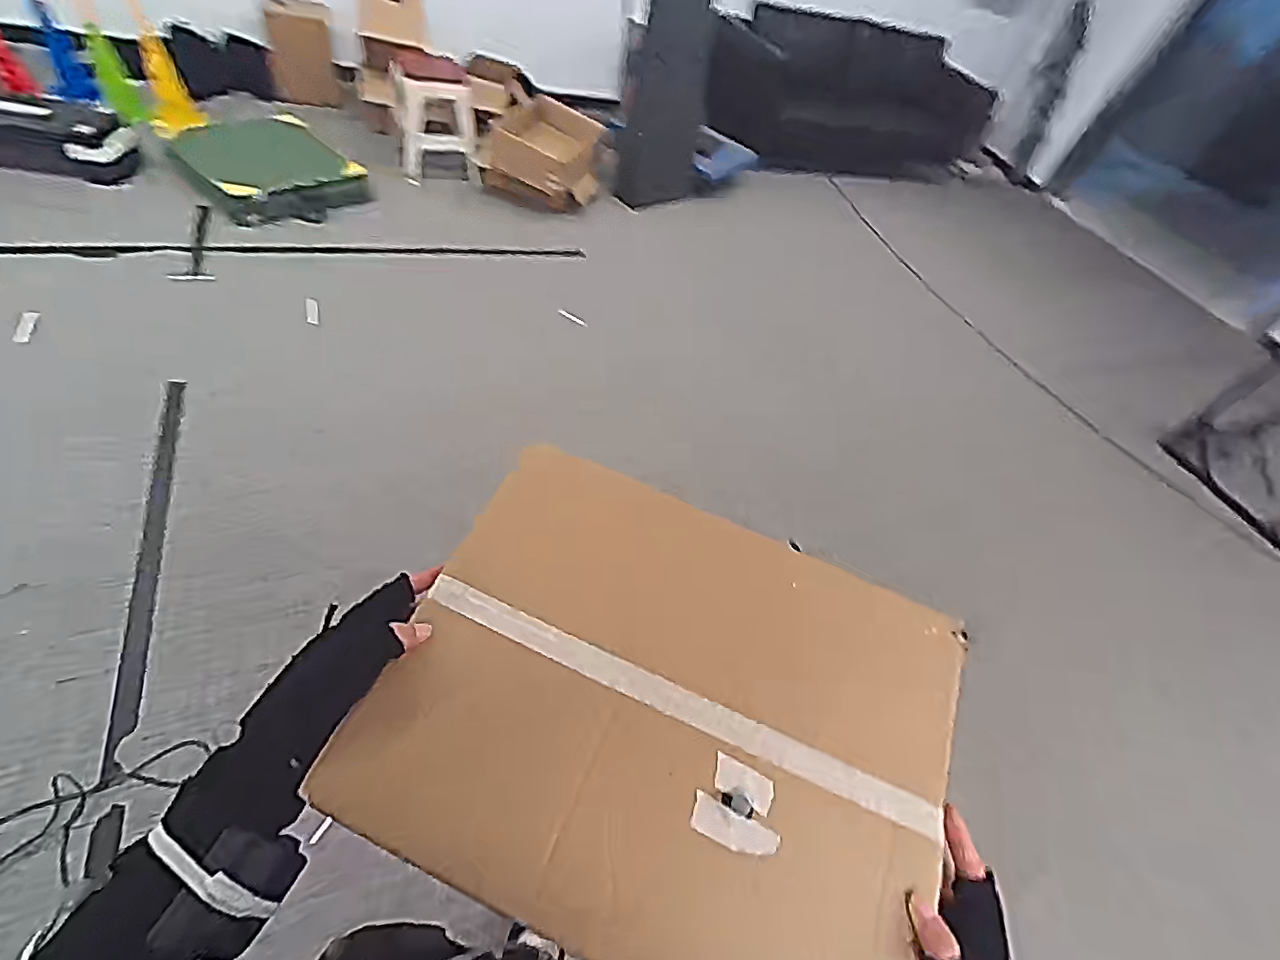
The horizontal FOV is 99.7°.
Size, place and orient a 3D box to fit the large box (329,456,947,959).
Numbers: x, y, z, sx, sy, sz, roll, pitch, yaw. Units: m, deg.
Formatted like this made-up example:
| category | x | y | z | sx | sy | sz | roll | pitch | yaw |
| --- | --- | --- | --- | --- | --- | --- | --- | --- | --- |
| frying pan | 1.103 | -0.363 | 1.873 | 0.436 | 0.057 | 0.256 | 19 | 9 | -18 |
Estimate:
| category | x | y | z | sx | sy | sz | roll | pitch | yaw |
| --- | --- | --- | --- | --- | --- | --- | --- | --- | --- |
| large box | 0.011 | 0.241 | 0.542 | 0.408 | 0.320 | 0.320 | 23 | 61 | 7 |
